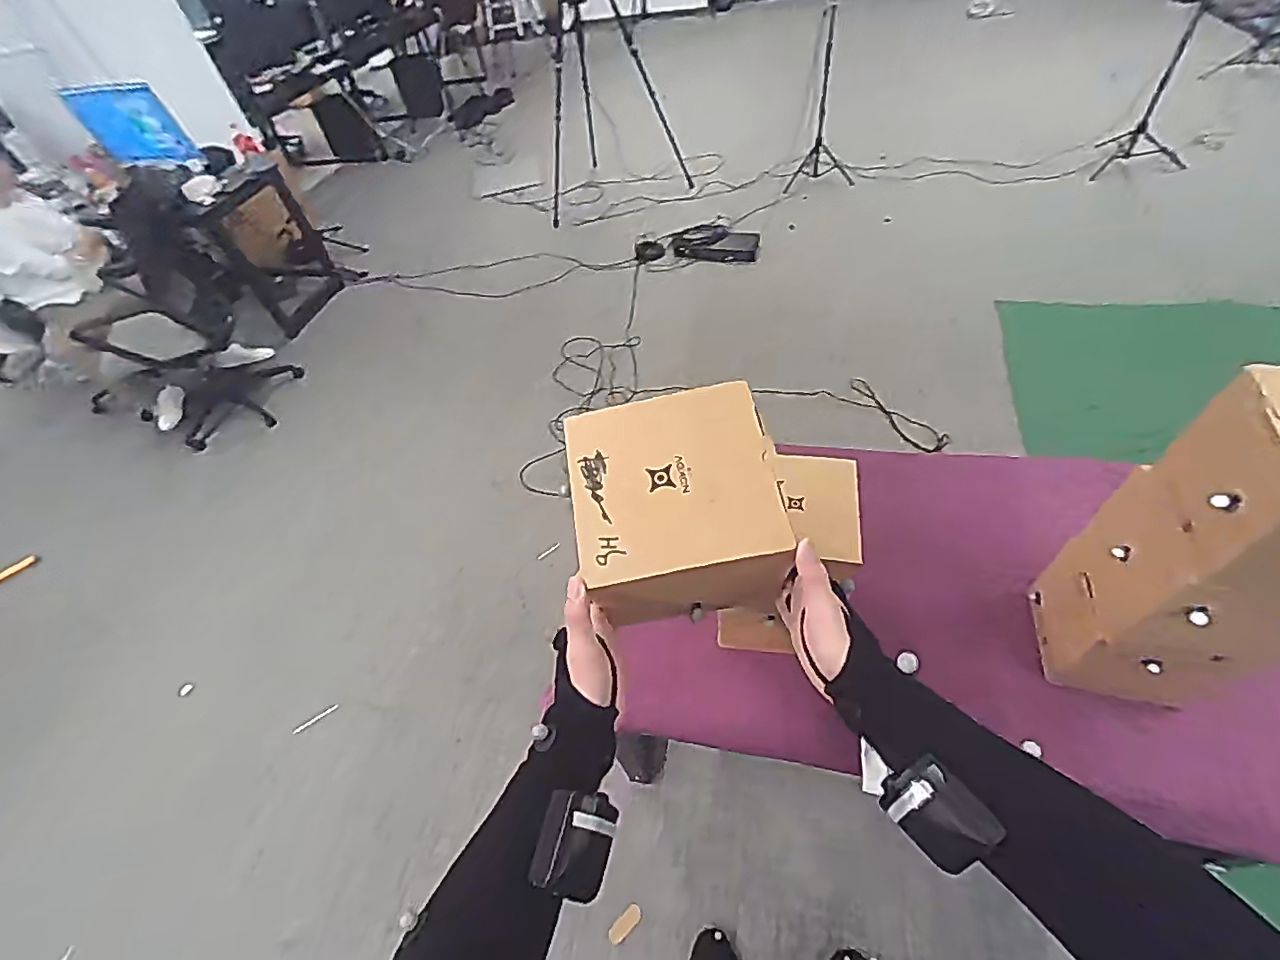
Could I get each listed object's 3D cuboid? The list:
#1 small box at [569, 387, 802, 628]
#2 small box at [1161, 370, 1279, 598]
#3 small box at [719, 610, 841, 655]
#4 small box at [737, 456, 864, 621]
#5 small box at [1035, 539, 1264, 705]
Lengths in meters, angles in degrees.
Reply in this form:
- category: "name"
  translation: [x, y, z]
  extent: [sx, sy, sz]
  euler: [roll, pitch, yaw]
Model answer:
- category: "small box"
  translation: [0.038, 0.036, 0.529]
  extent: [0.179, 0.176, 0.168]
  euler: [-11, 62, 1]
- category: "small box"
  translation: [0.669, 0.014, 0.530]
  extent: [0.179, 0.176, 0.168]
  euler: [9, 53, 16]
- category: "small box"
  translation: [0.227, 0.178, 0.900]
  extent: [0.179, 0.176, 0.168]
  euler: [3, 51, 13]
- category: "small box"
  translation: [0.206, 0.084, 0.765]
  extent: [0.179, 0.176, 0.168]
  euler: [4, 51, 13]
- category: "small box"
  translation: [0.712, 0.209, 0.790]
  extent: [0.179, 0.176, 0.168]
  euler: [7, 52, 15]
